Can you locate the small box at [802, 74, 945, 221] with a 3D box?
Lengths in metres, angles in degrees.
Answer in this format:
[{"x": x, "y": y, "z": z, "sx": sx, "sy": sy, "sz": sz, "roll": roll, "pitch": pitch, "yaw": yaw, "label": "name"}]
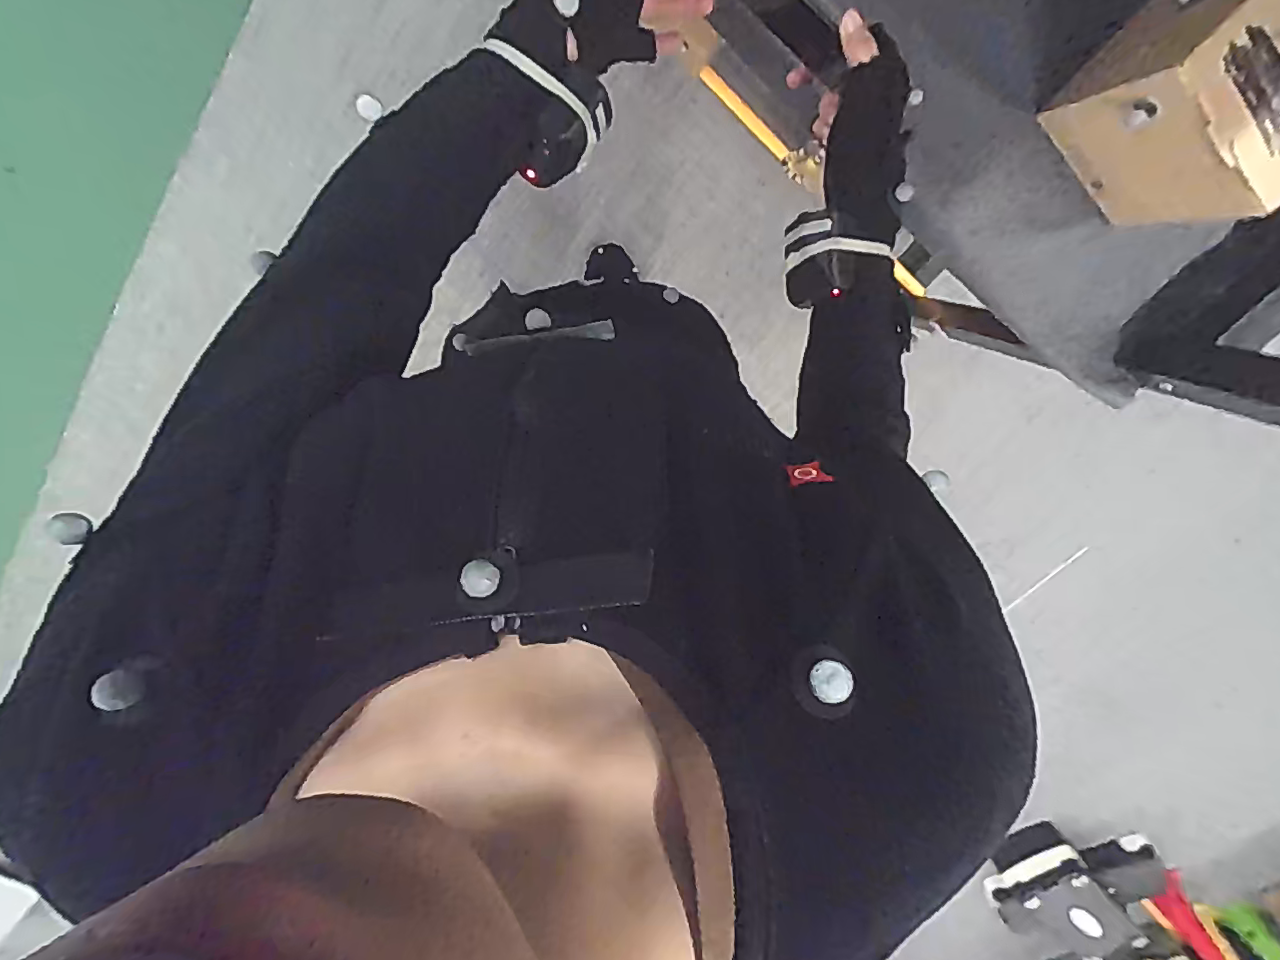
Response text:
[{"x": 0.442, "y": -0.634, "z": 1.060, "sx": 0.168, "sy": 0.176, "sz": 0.179, "roll": 40, "pitch": 108, "yaw": -17, "label": "small box"}]
